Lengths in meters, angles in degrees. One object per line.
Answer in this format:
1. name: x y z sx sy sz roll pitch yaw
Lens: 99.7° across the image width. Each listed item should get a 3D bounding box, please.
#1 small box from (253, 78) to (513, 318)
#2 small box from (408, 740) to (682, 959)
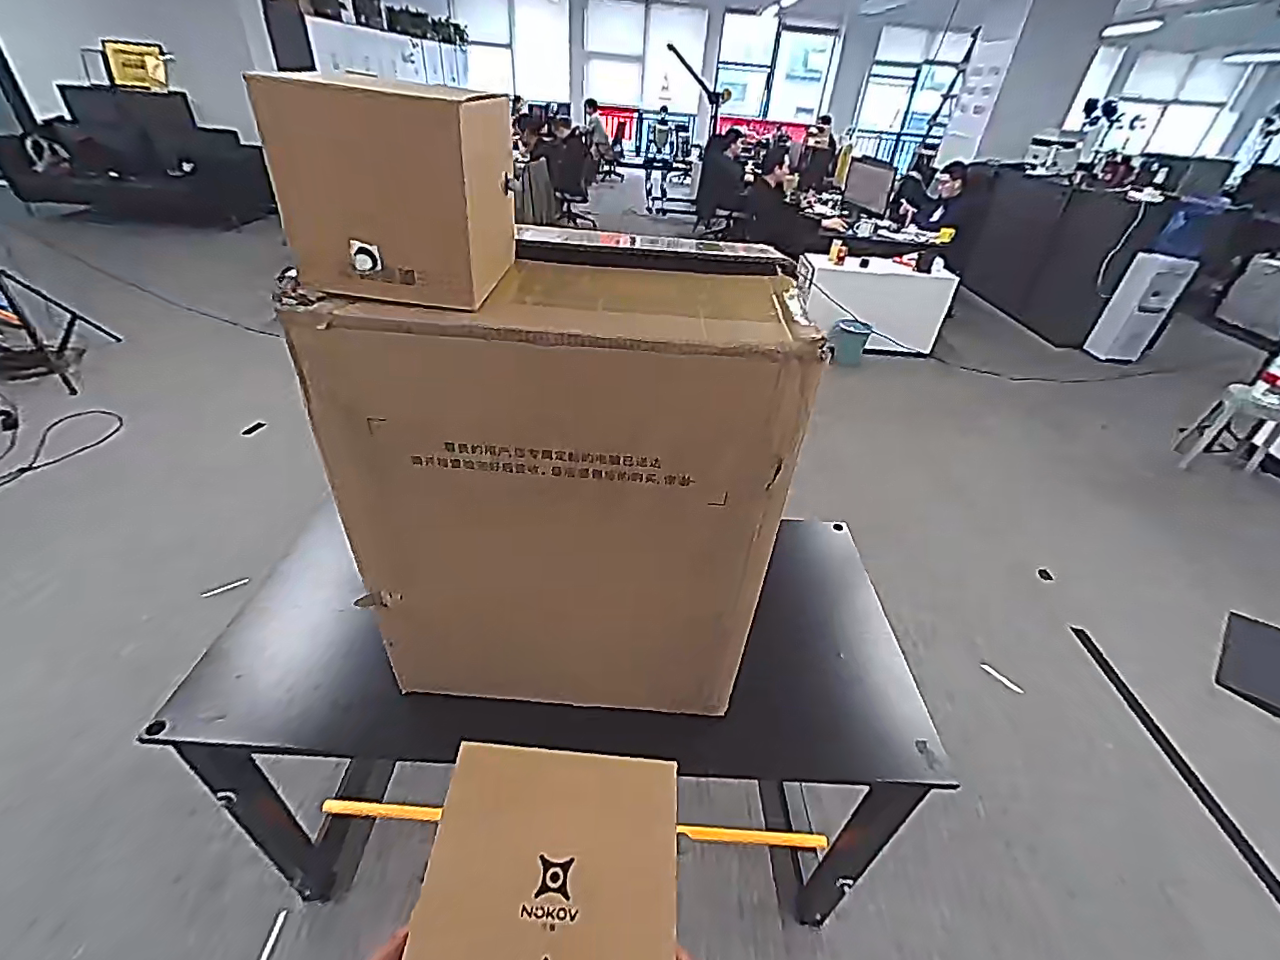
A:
1. small box: -0.222 -0.276 0.528 0.168 0.176 0.179 5 37 -2
2. small box: -0.063 0.322 0.405 0.168 0.176 0.179 6 45 -2
